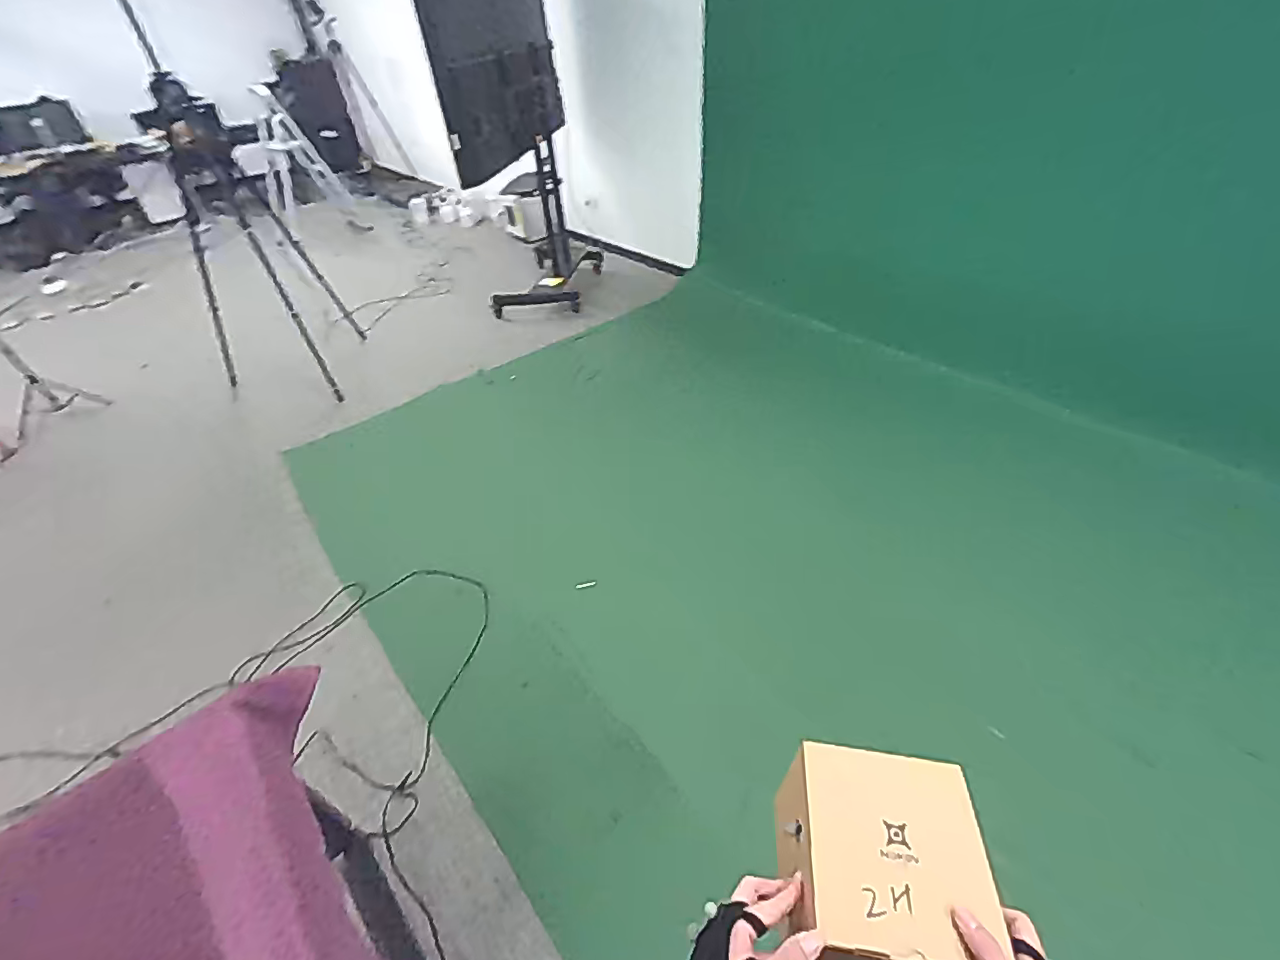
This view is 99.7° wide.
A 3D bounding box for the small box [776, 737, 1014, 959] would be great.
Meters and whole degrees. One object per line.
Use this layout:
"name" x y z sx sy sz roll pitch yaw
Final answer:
"small box" 0.239 0.403 0.562 0.168 0.176 0.179 6 41 6
